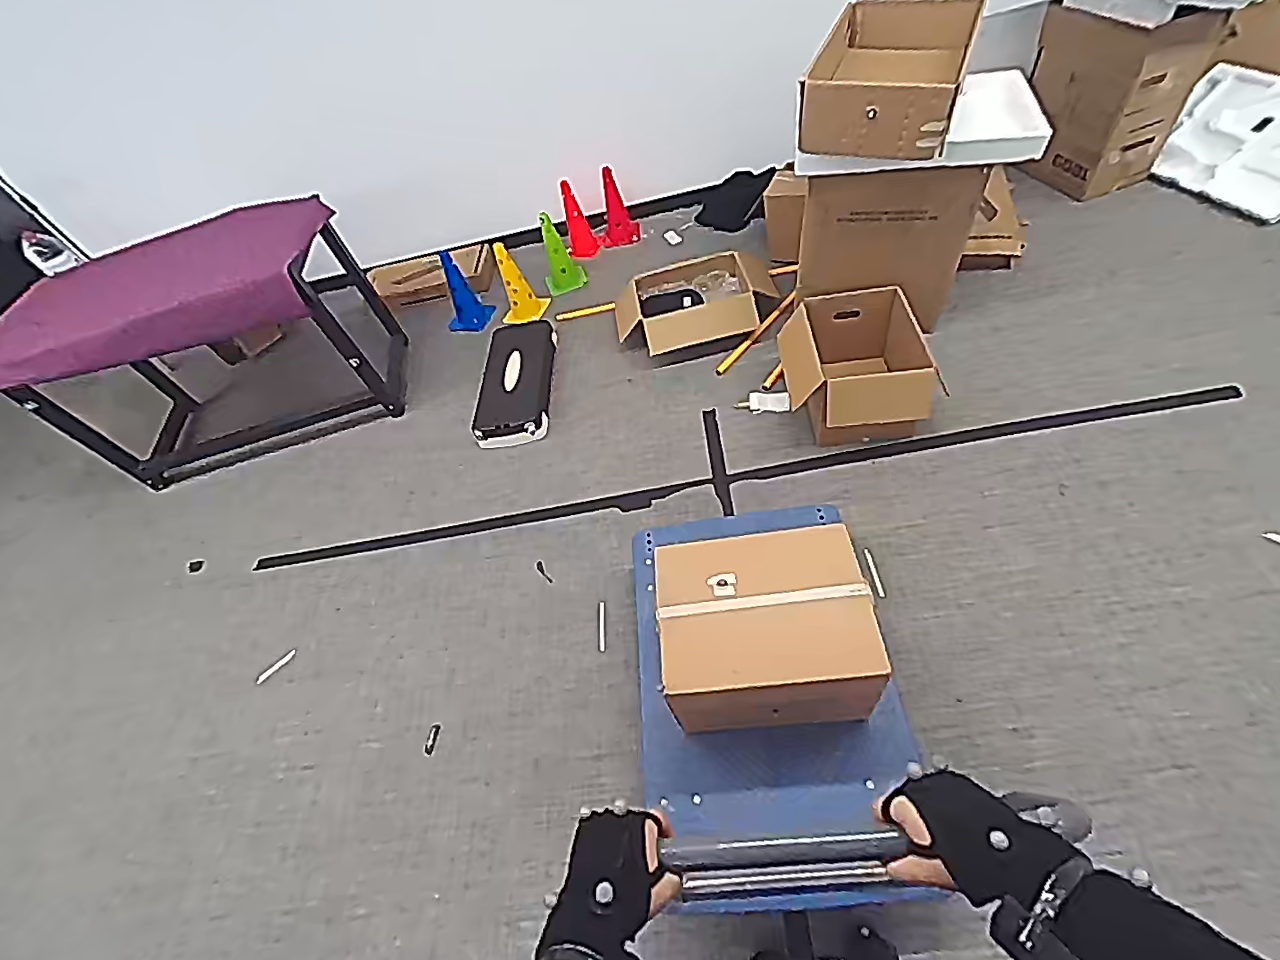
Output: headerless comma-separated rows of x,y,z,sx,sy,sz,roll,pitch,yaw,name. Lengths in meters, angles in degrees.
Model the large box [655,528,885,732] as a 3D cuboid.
0.265,0.339,1.181,0.408,0.320,0.320,-9,51,8,large box
